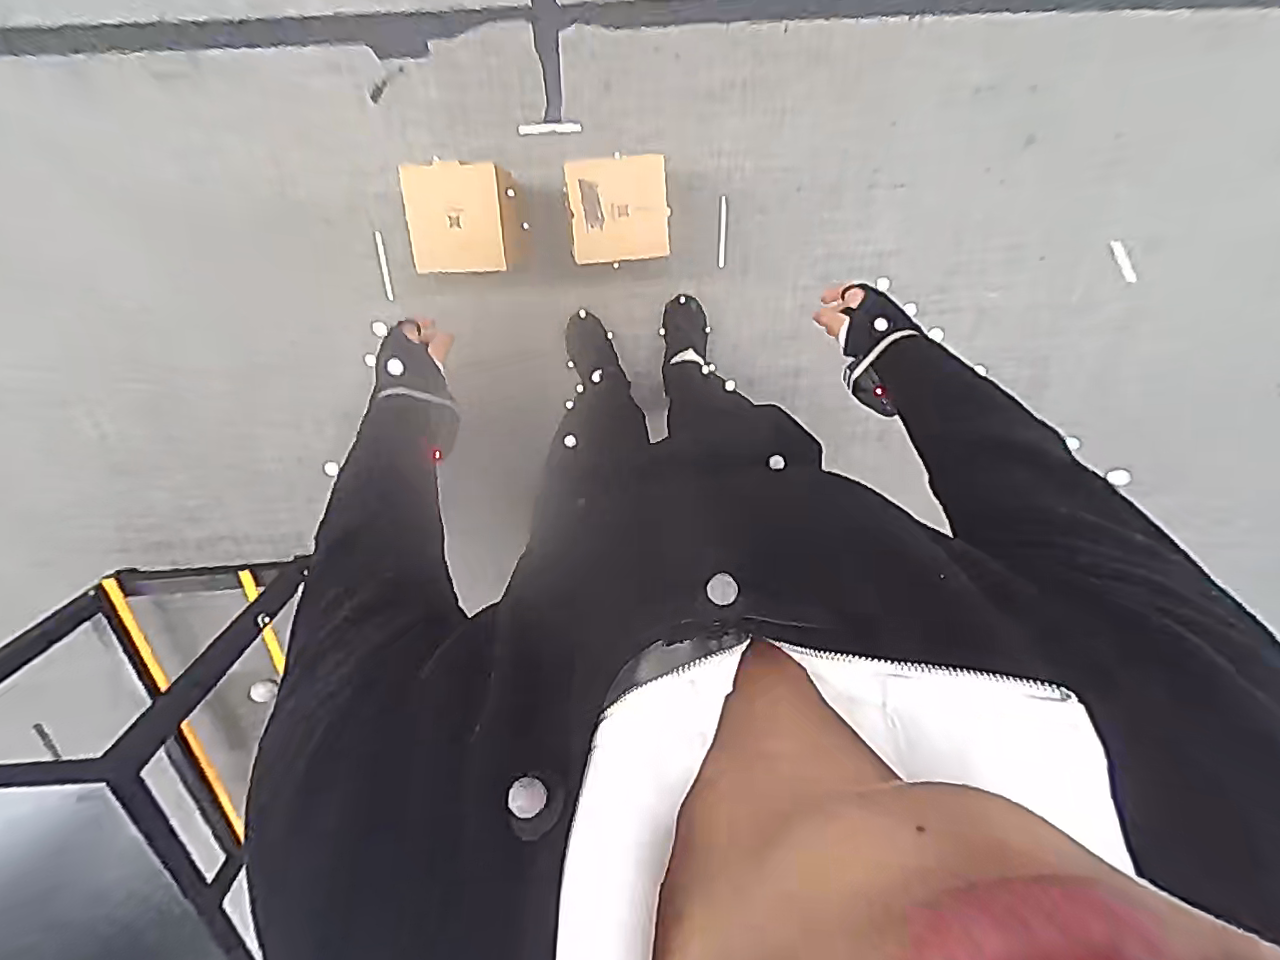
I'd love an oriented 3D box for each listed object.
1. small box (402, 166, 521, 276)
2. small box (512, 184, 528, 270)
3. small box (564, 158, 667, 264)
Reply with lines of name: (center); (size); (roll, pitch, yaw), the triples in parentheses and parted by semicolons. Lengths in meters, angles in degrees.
small box: (-0.328, -0.490, 1.033); (0.168, 0.176, 0.179); (-2, 115, -1)
small box: (-0.344, -0.553, 1.183); (0.179, 0.176, 0.168); (-2, 114, -2)
small box: (-0.044, -0.509, 1.040); (0.179, 0.176, 0.168); (-5, 114, -1)
